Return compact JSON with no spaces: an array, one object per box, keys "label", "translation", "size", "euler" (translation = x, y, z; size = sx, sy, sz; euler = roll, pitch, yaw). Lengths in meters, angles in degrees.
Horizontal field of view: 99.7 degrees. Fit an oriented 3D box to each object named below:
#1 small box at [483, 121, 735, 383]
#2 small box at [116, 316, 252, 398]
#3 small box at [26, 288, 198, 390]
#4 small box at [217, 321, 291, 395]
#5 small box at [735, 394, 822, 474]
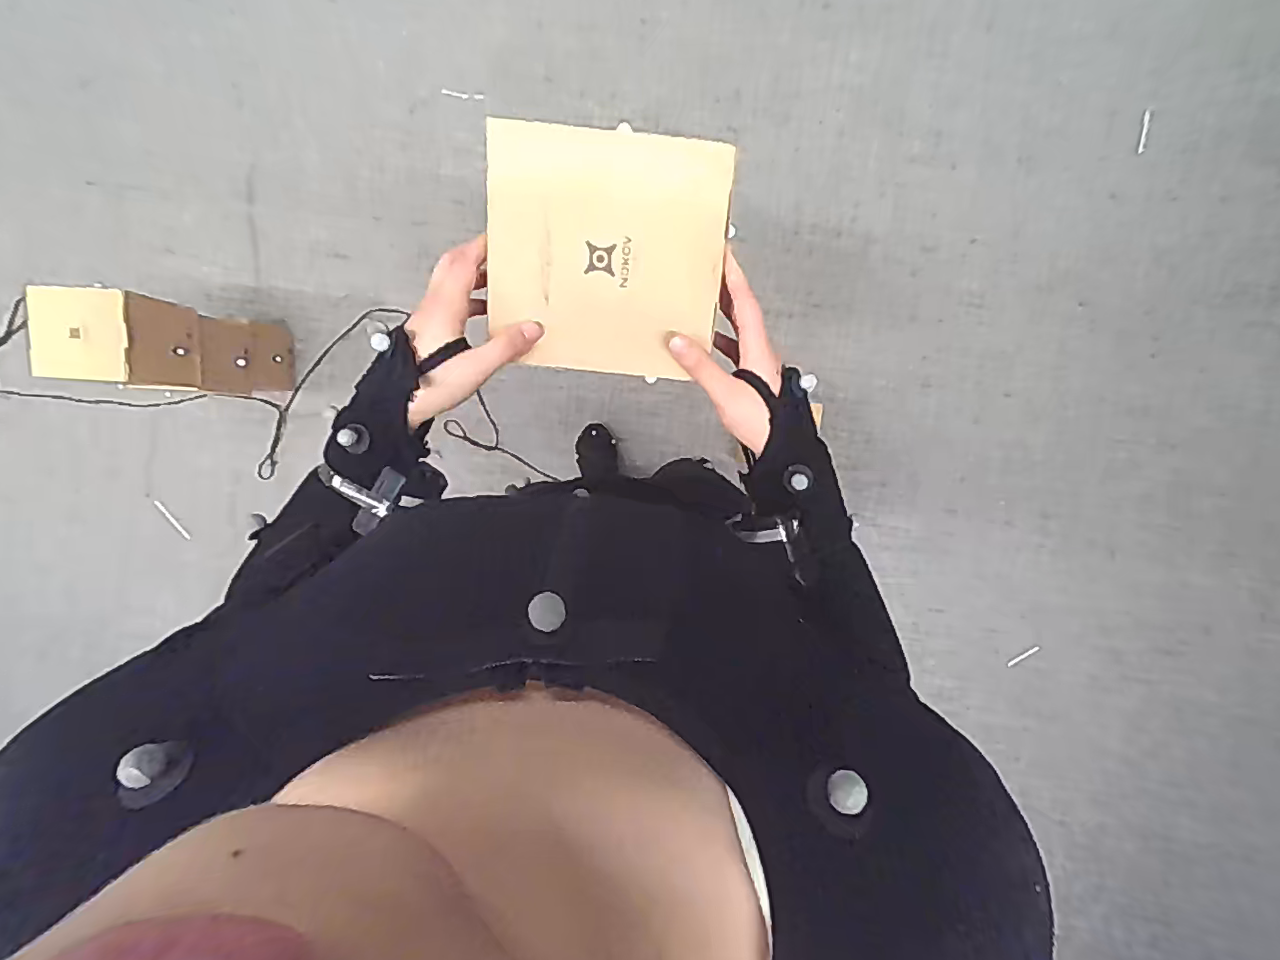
[{"label":"small box","translation":[-0.026,-0.185,0.470],"size":[0.179,0.176,0.168],"euler":[5,107,0]},{"label":"small box","translation":[-1.021,-0.275,1.217],"size":[0.179,0.176,0.168],"euler":[3,96,-1]},{"label":"small box","translation":[-1.018,-0.267,1.055],"size":[0.179,0.176,0.168],"euler":[2,95,-1]},{"label":"small box","translation":[-1.022,-0.308,1.379],"size":[0.179,0.176,0.168],"euler":[-1,94,1]},{"label":"small box","translation":[0.347,-0.117,1.385],"size":[0.168,0.176,0.179],"euler":[8,95,0]}]
